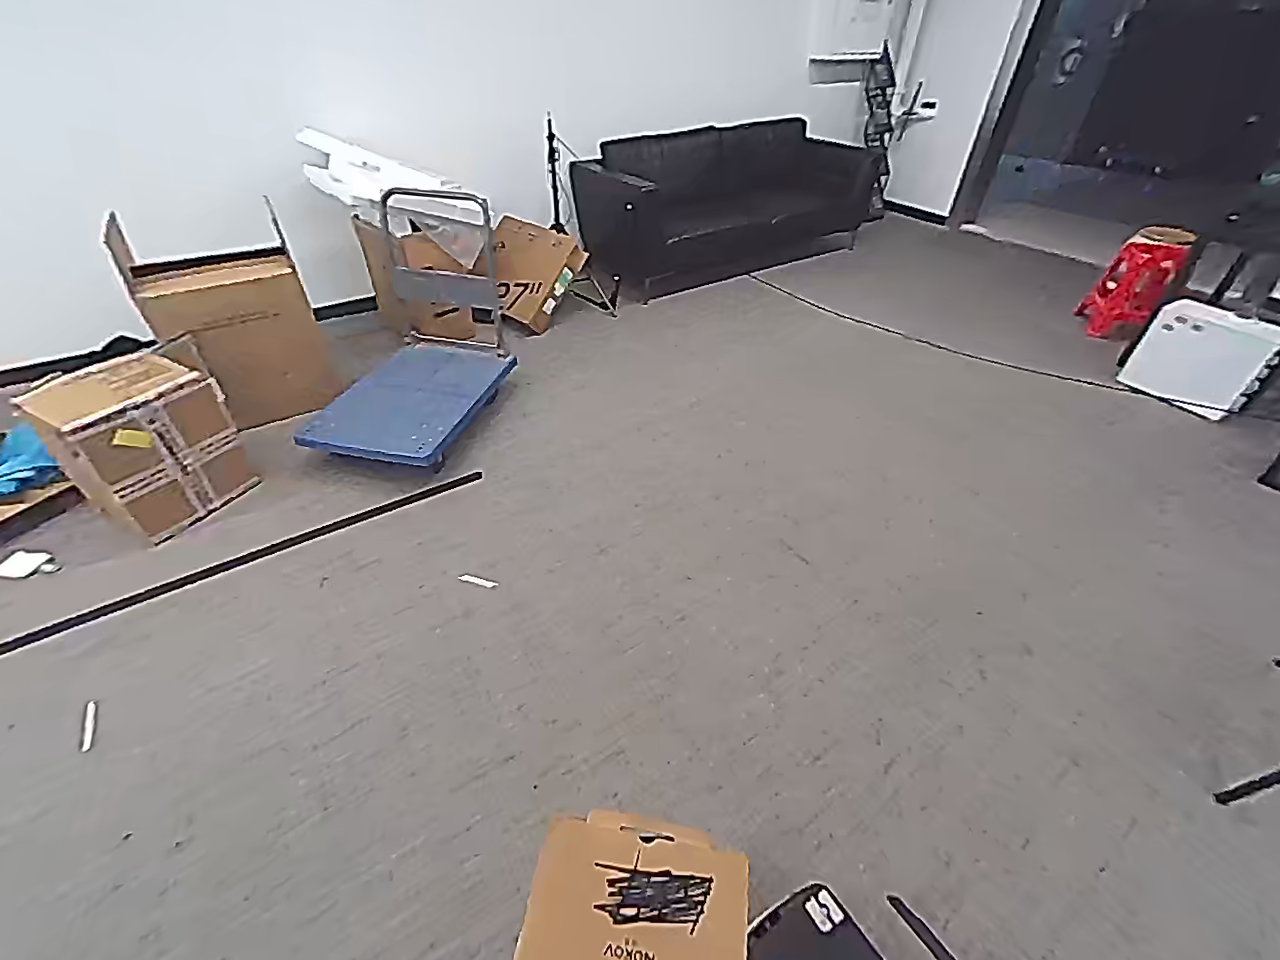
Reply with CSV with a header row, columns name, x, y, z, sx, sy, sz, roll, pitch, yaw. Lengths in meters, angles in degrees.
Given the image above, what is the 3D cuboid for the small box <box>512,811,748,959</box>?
name,x,y,z,sx,sy,sz,roll,pitch,yaw
small box,-0.012,0.400,0.428,0.168,0.176,0.179,7,42,6

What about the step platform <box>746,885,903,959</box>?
name,x,y,z,sx,sy,sz,roll,pitch,yaw
step platform,0.434,1.028,0.808,0.286,0.204,0.684,-23,44,-26
